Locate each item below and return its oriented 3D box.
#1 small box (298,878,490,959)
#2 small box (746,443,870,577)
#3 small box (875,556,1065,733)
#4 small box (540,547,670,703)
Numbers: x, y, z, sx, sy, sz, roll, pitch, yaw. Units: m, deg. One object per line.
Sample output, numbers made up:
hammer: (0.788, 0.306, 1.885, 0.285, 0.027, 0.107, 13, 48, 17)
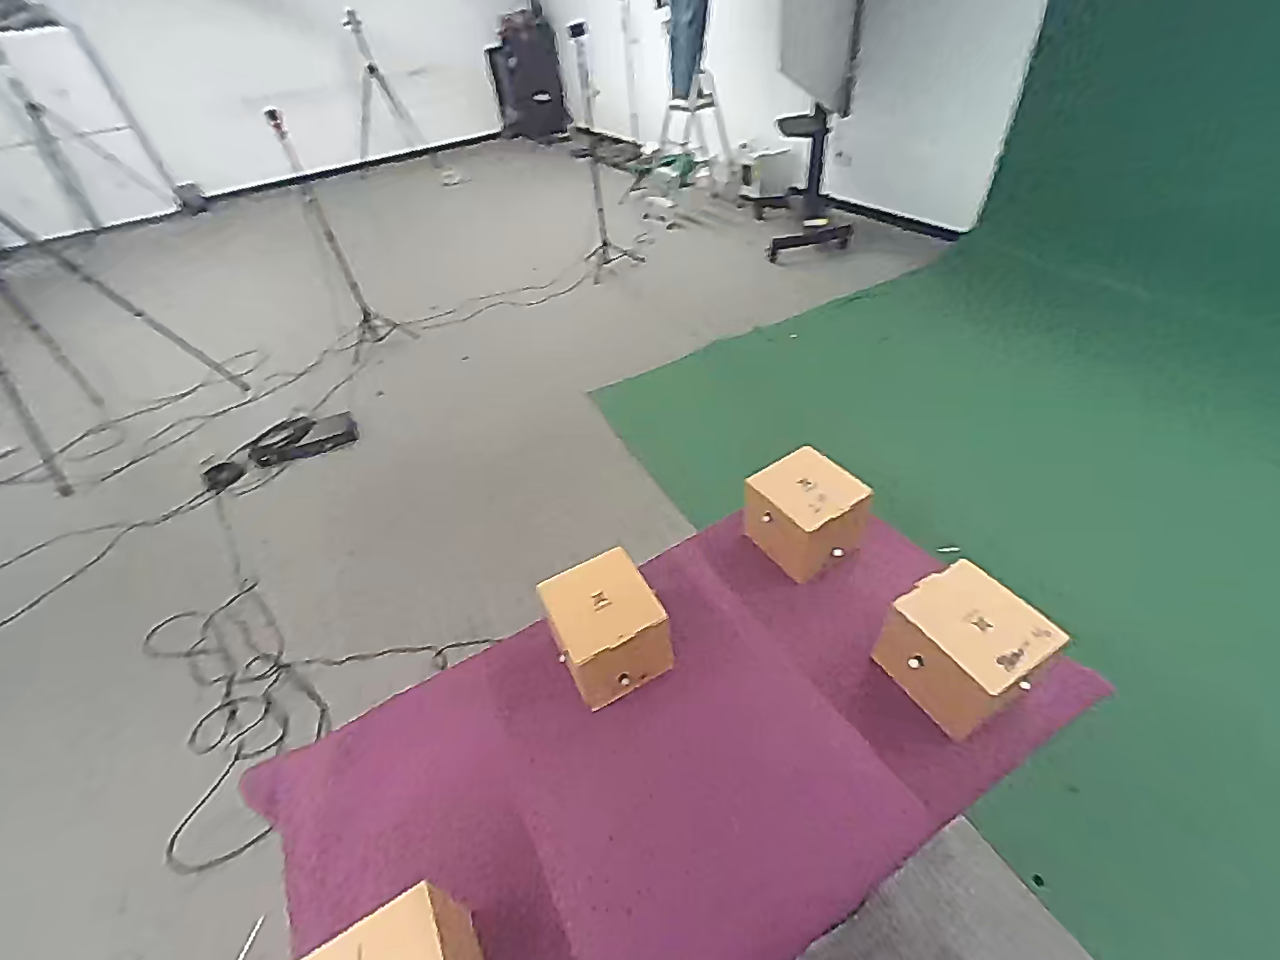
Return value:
small box: (-0.271, 0.616, 0.627, 0.168, 0.176, 0.179, -26, 44, -17)
small box: (0.331, 0.061, 1.097, 0.168, 0.176, 0.179, -29, 48, -16)
small box: (0.506, 0.261, 0.860, 0.168, 0.176, 0.179, -26, 46, -15)
small box: (-0.059, 0.259, 0.967, 0.168, 0.176, 0.179, -24, 47, -16)
